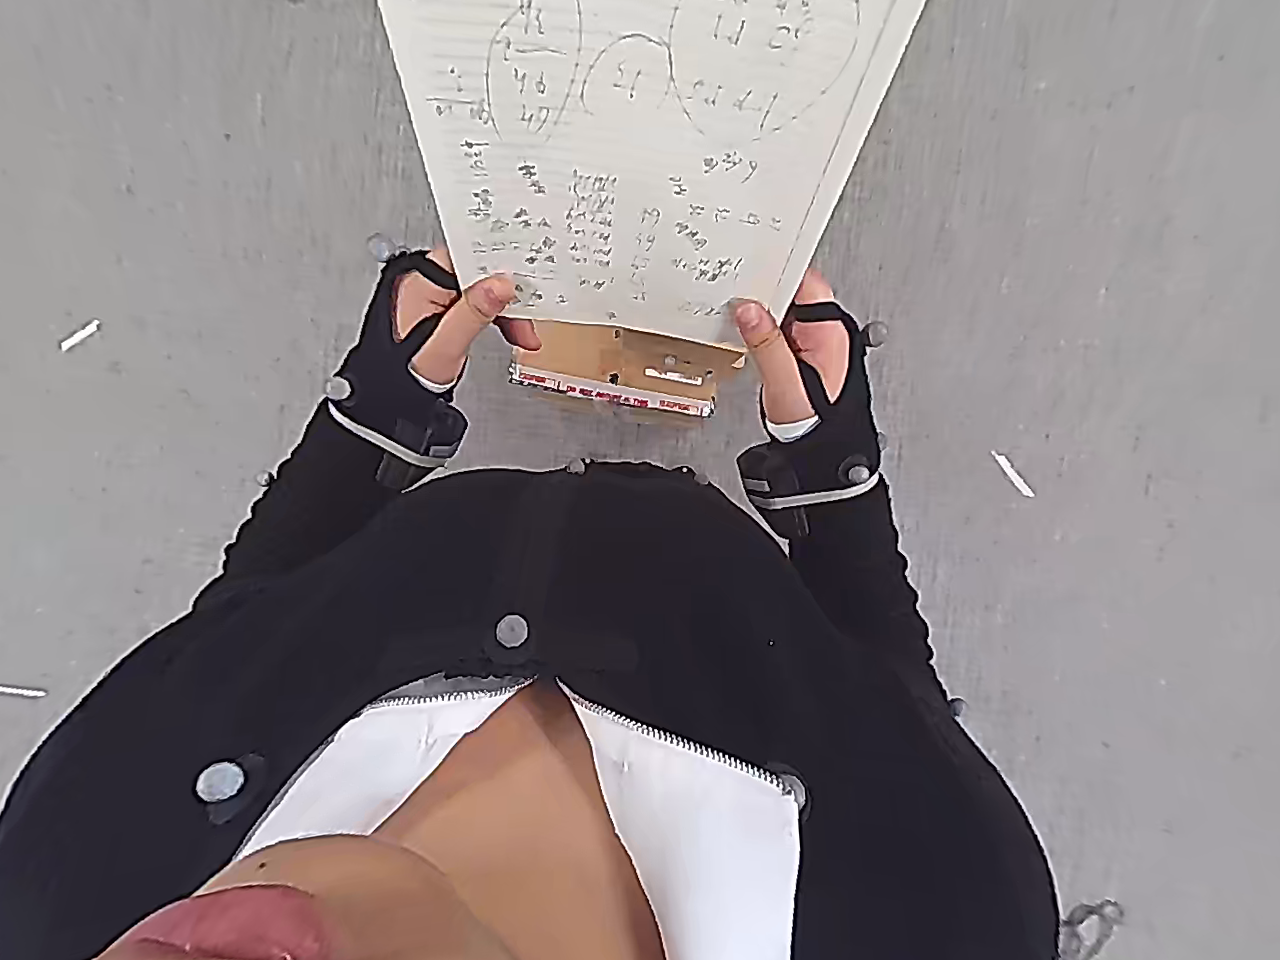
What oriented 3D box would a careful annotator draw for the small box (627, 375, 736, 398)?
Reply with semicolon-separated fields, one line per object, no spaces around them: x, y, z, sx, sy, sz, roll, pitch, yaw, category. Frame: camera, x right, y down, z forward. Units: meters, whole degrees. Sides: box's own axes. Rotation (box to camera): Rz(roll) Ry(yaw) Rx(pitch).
0.076;-0.240;0.939;0.179;0.176;0.168;9;92;-2;small box

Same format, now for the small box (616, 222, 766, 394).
0.062;-0.232;0.774;0.168;0.176;0.179;13;93;-3;small box
